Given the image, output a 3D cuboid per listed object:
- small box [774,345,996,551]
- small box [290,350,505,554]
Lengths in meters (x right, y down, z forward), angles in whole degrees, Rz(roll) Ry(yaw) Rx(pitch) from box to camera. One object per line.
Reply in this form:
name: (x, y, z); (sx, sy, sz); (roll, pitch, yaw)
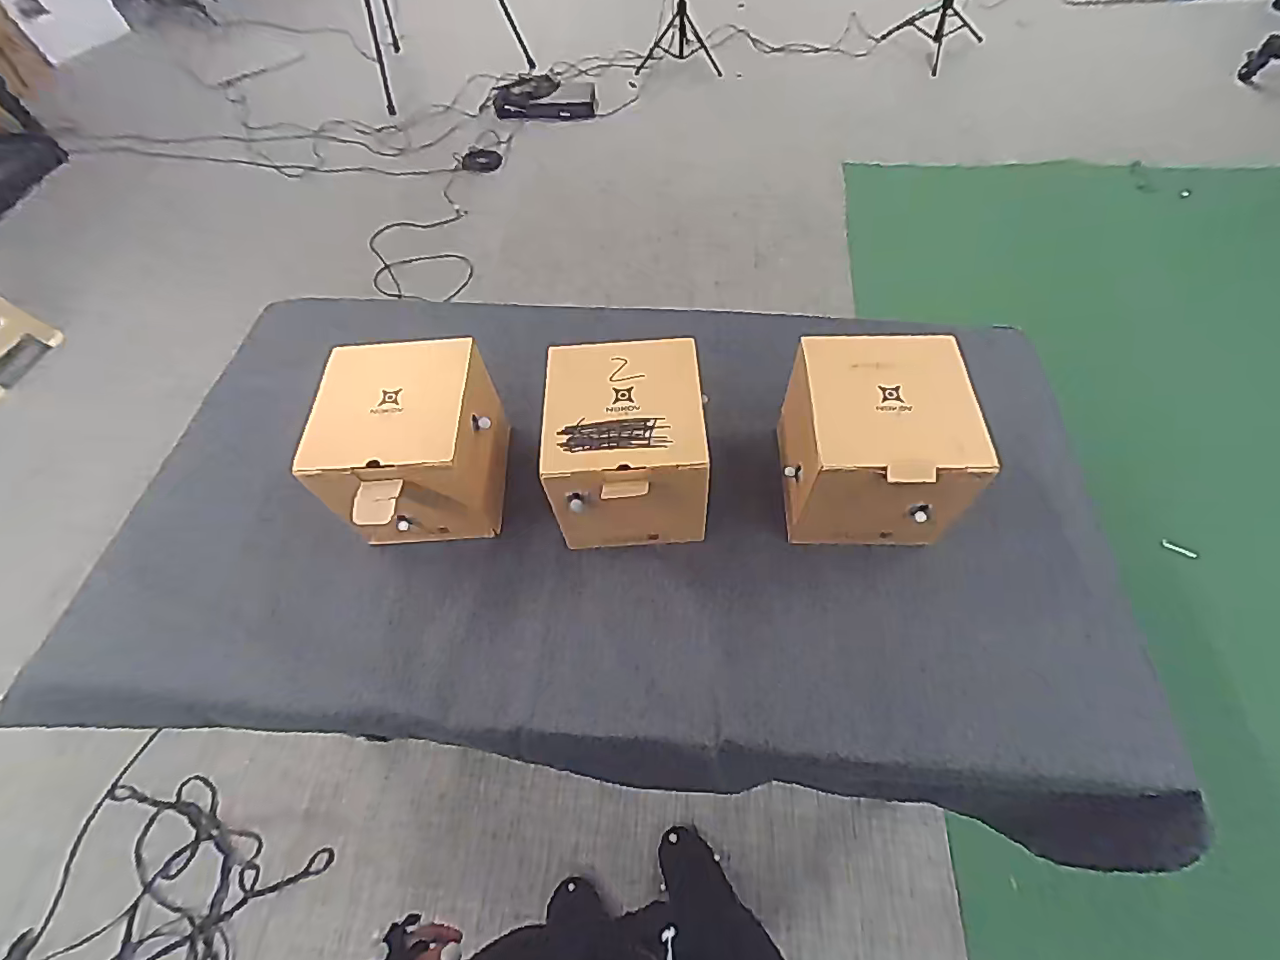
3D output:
small box: (0.255, -0.029, 0.613); (0.168, 0.176, 0.179); (0, 57, 2)
small box: (-0.265, -0.029, 0.643); (0.168, 0.176, 0.179); (-4, 58, 1)
